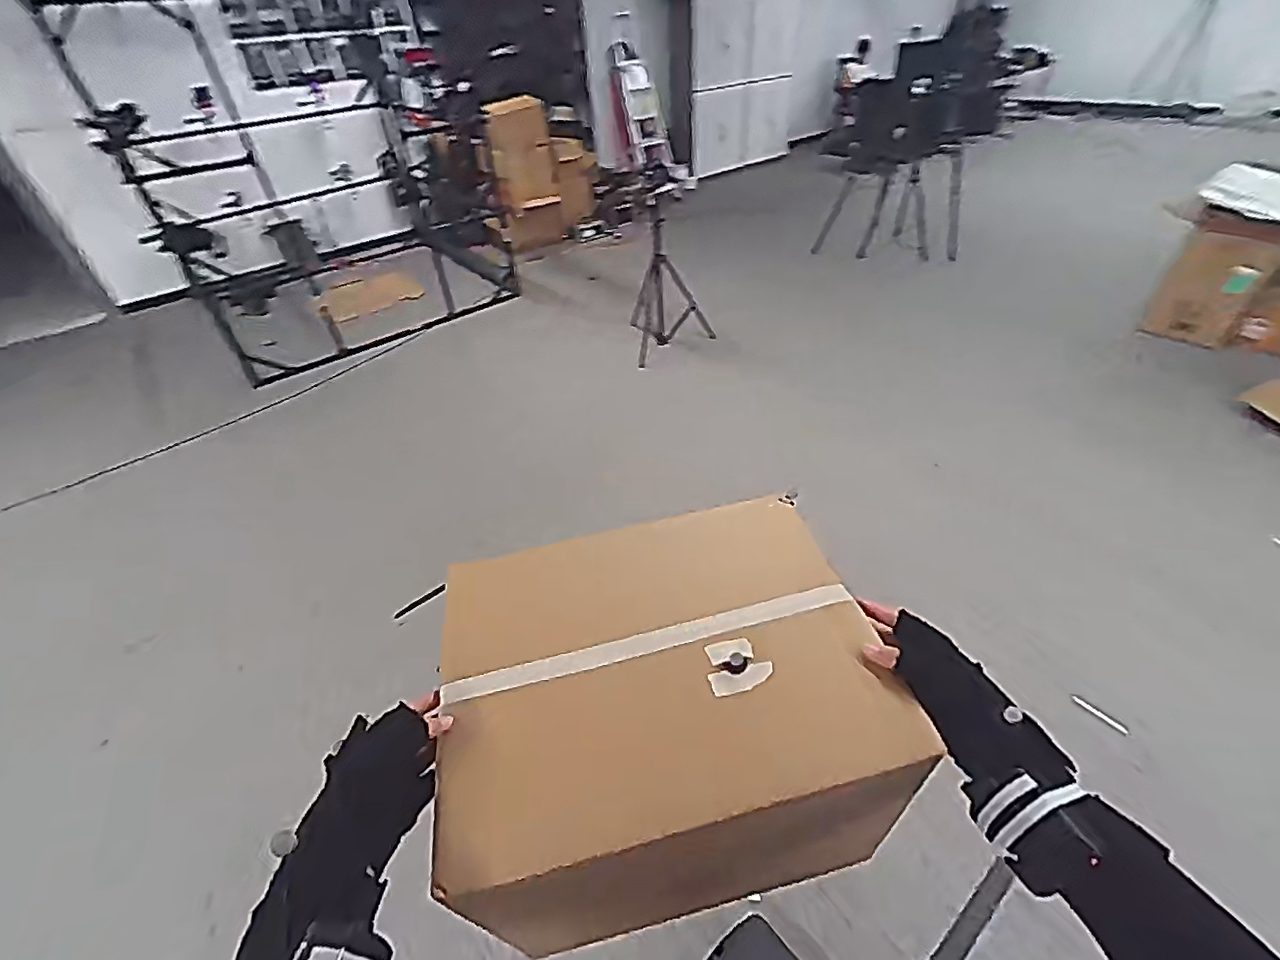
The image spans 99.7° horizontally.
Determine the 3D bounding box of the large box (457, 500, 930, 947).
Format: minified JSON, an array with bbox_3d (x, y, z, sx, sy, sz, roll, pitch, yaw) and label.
[{"bbox_3d":[0.032,0.273,0.634,0.408,0.320,0.320,-12,42,-6],"label":"large box"}]
